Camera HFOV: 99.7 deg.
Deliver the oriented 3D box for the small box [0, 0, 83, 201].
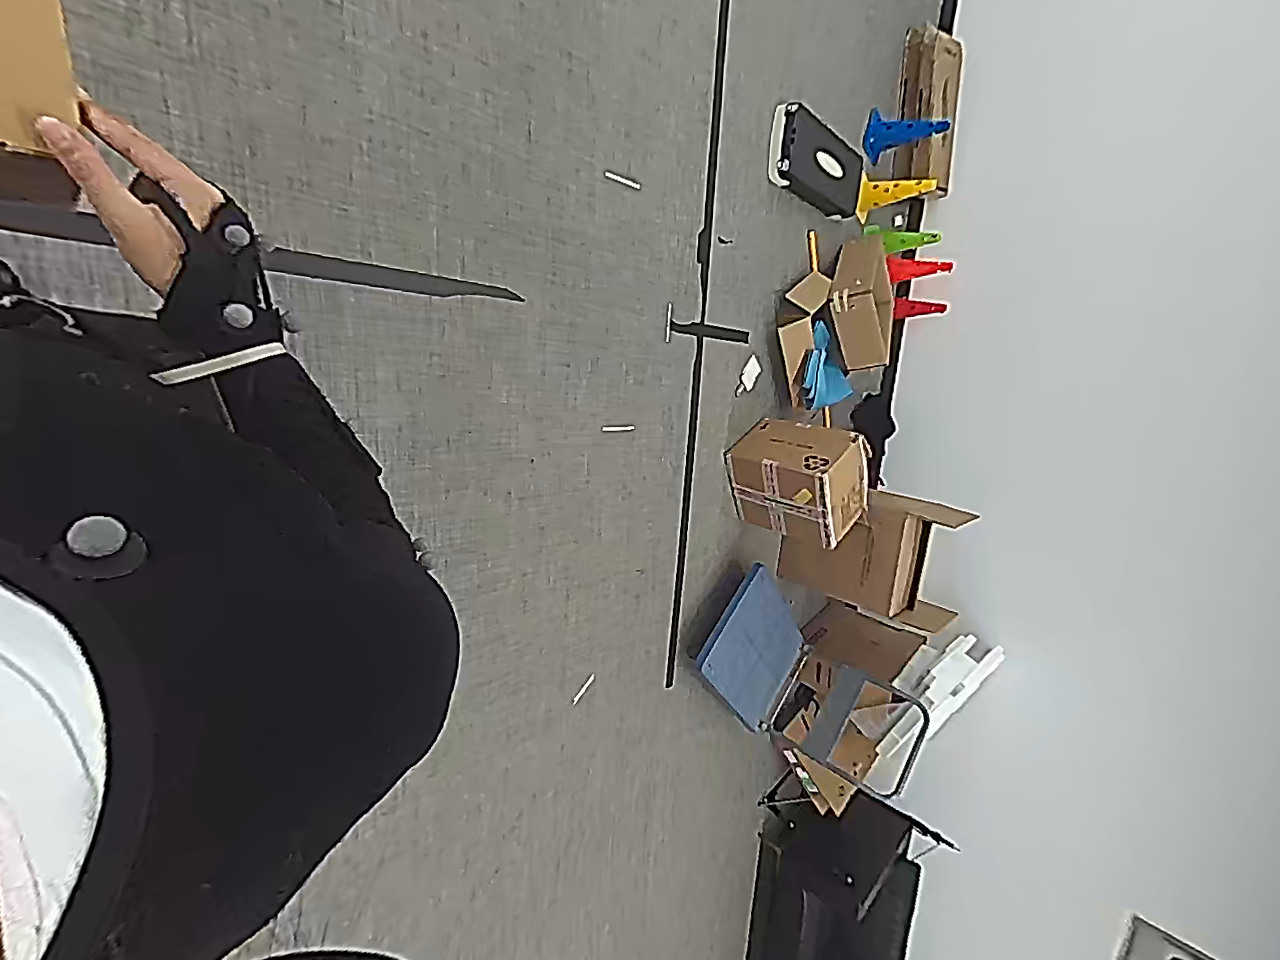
[{"bbox_3d":[-0.430,-0.275,0.288,0.168,0.176,0.179,-10,105,-46],"label":"small box"}]
